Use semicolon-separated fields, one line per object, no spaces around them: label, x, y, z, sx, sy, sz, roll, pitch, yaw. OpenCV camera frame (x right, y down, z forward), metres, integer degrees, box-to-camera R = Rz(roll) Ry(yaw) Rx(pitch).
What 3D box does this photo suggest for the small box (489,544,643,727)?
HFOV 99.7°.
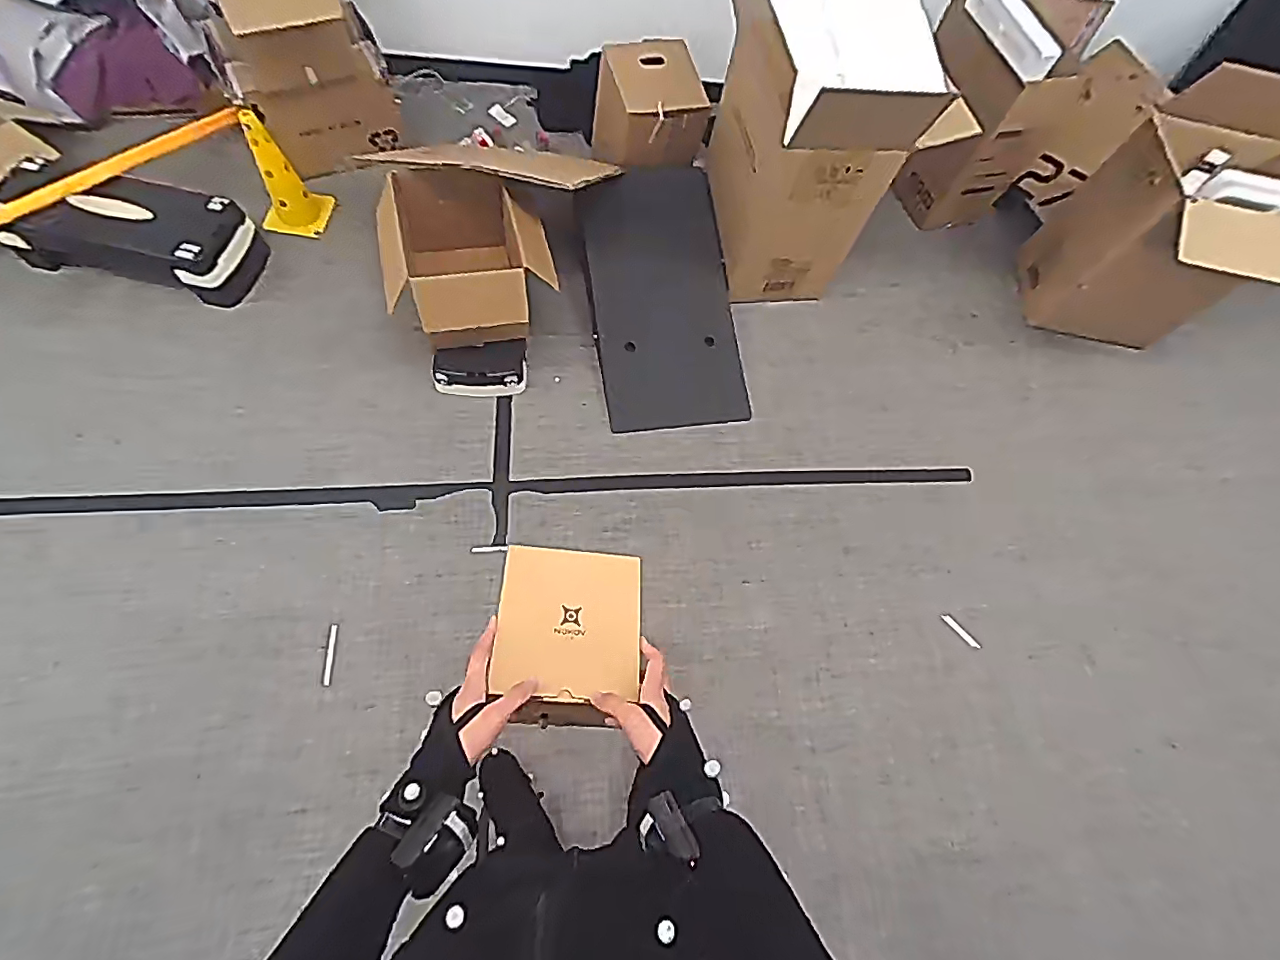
small box;-0.094;0.200;0.678;0.168;0.176;0.179;7;58;-10
